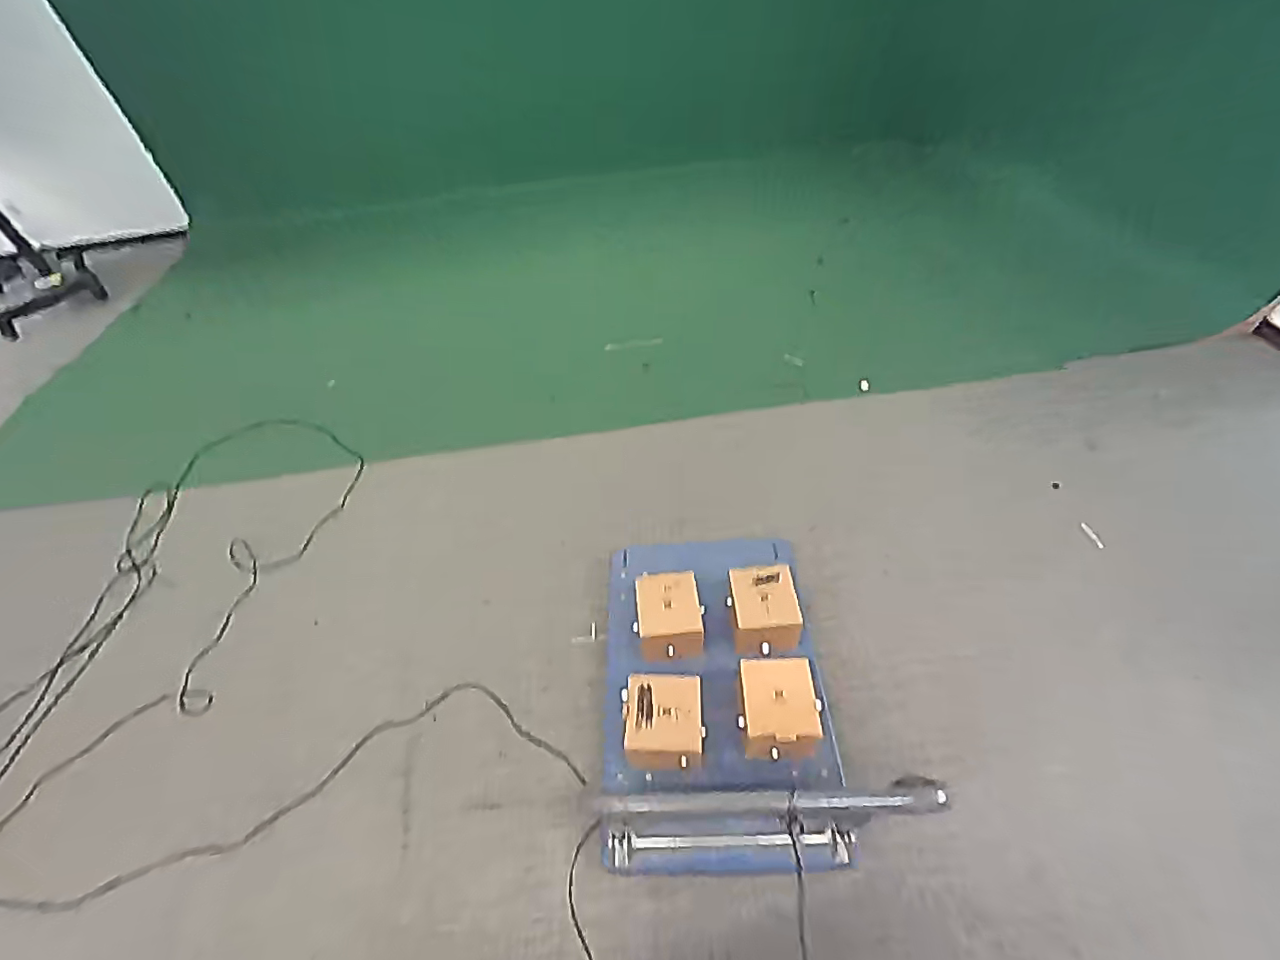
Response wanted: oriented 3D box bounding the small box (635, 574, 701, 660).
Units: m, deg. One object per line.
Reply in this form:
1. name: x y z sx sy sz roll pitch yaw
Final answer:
1. small box: 0.079 0.385 1.494 0.168 0.176 0.179 -5 47 0

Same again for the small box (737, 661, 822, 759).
1. small box: 0.329 0.559 1.312 0.168 0.176 0.179 -3 49 3

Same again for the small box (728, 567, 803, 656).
1. small box: 0.335 0.363 1.486 0.168 0.176 0.179 -5 49 2
